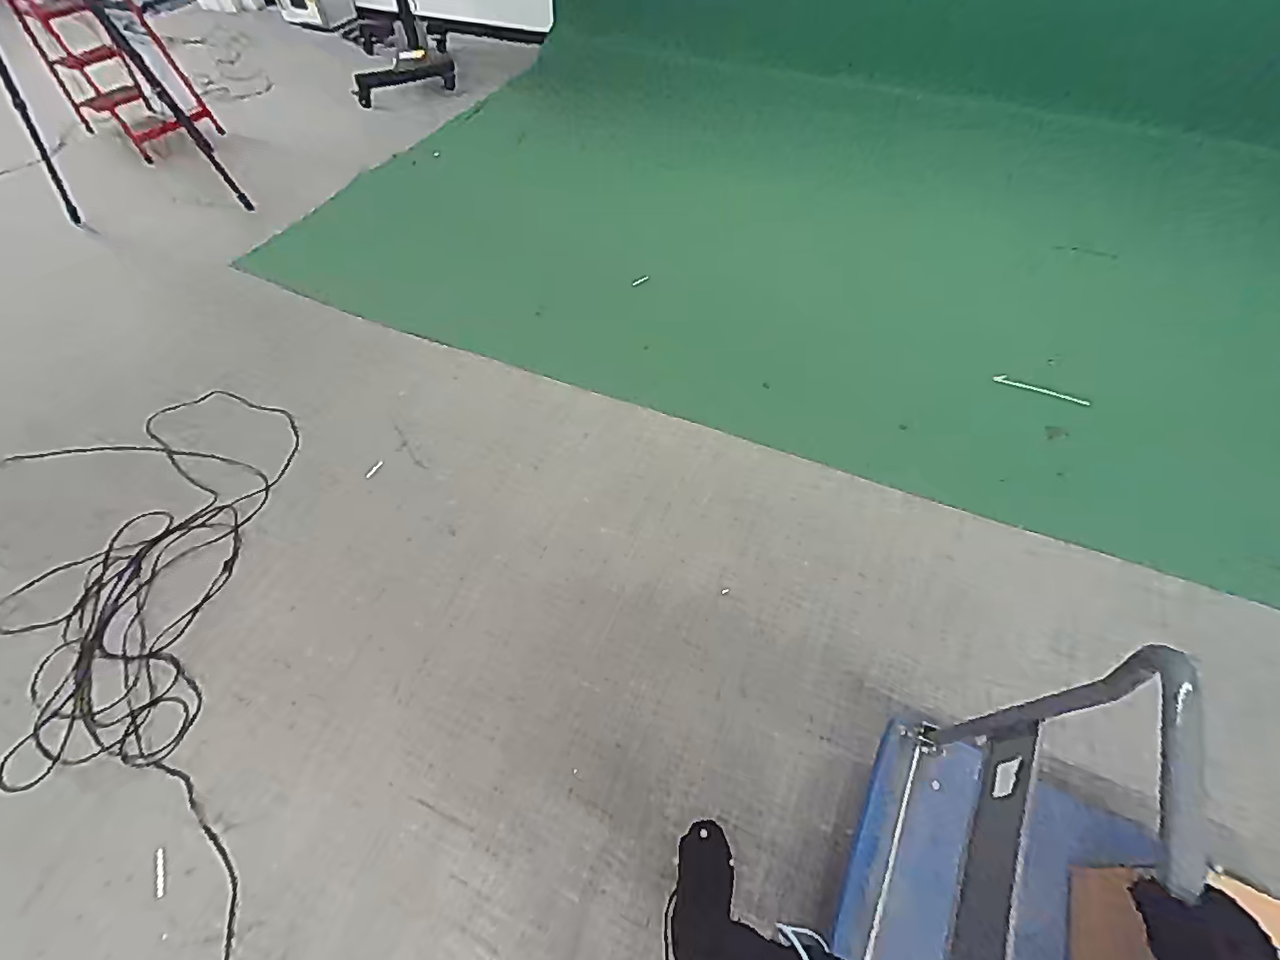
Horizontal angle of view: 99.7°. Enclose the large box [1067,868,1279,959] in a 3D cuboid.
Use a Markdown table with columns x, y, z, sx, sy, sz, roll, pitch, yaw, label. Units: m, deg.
| x | y | z | sx | sy | sz | roll | pitch | yaw | label |
| --- | --- | --- | --- | --- | --- | --- | --- | --- | --- |
| 0.857 | 0.845 | 0.757 | 0.320 | 0.320 | 0.408 | 22 | 57 | 15 | large box |
